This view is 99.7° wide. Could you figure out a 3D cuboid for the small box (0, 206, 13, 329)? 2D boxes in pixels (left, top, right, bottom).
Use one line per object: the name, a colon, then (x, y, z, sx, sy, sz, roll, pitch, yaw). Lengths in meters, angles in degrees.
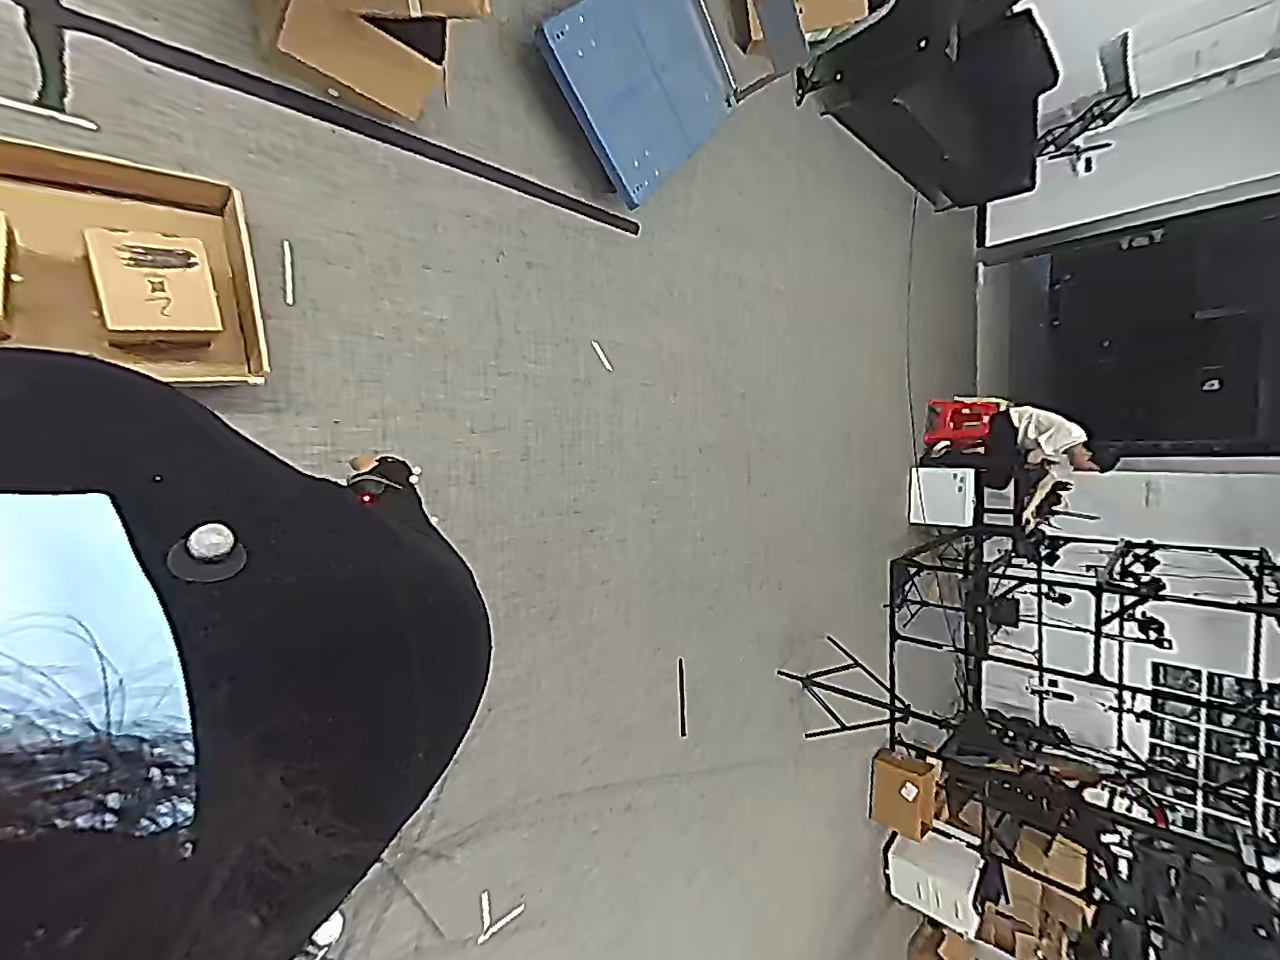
small box: (-1.128, -0.354, 0.856, 0.168, 0.176, 0.179, 3, 89, -47)
